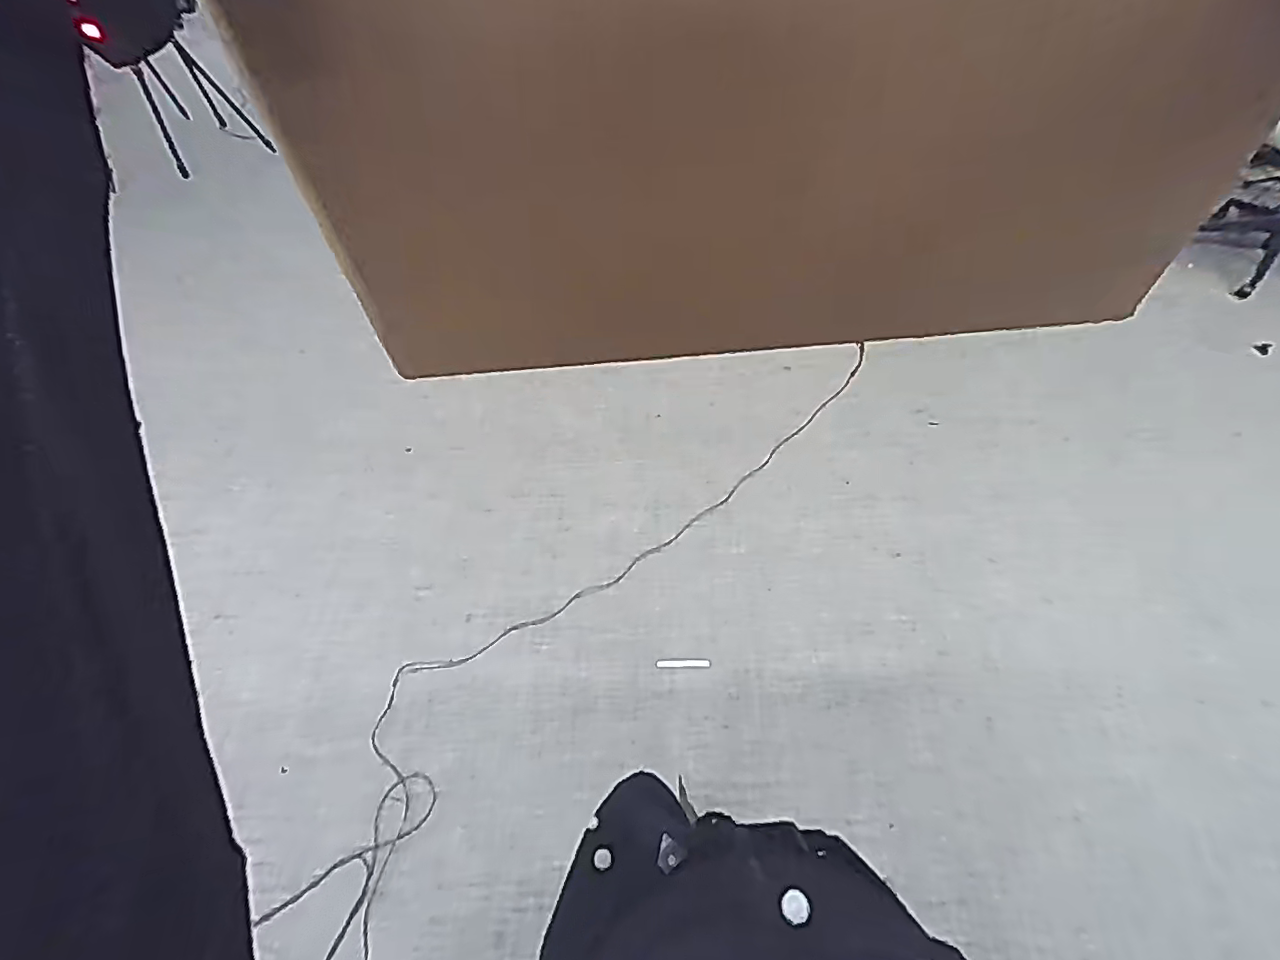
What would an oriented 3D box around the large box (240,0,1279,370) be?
[{"bbox_3d":[0.046,-0.286,0.289,0.408,0.320,0.320,-5,51,-1],"label":"large box"}]
